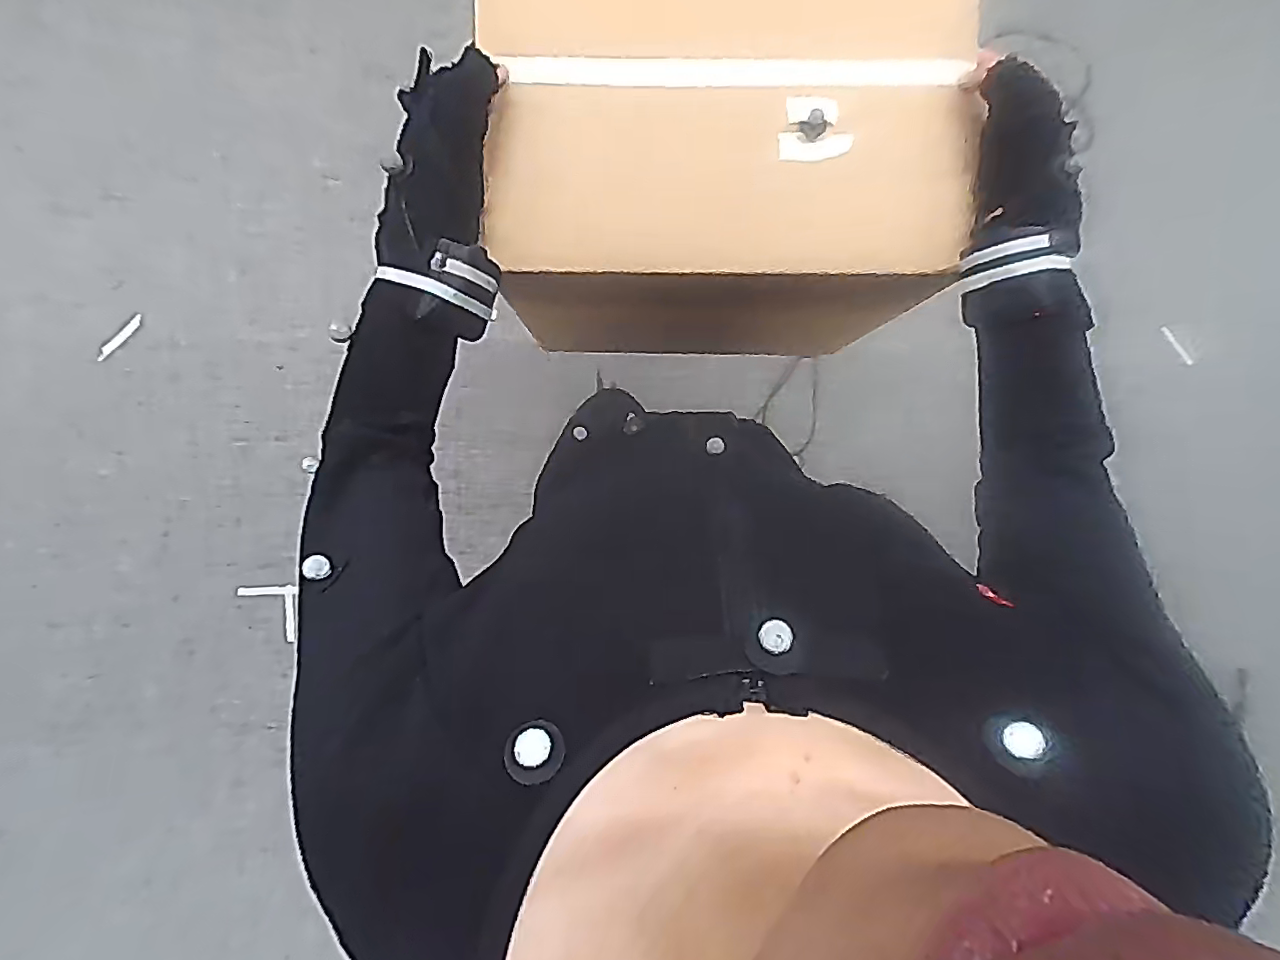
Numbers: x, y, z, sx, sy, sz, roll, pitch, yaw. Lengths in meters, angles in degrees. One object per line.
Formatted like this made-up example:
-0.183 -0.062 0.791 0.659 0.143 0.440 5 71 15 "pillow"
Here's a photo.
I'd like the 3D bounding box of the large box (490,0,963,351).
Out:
0.069 -0.334 0.603 0.408 0.320 0.320 0 91 -1 "large box"
